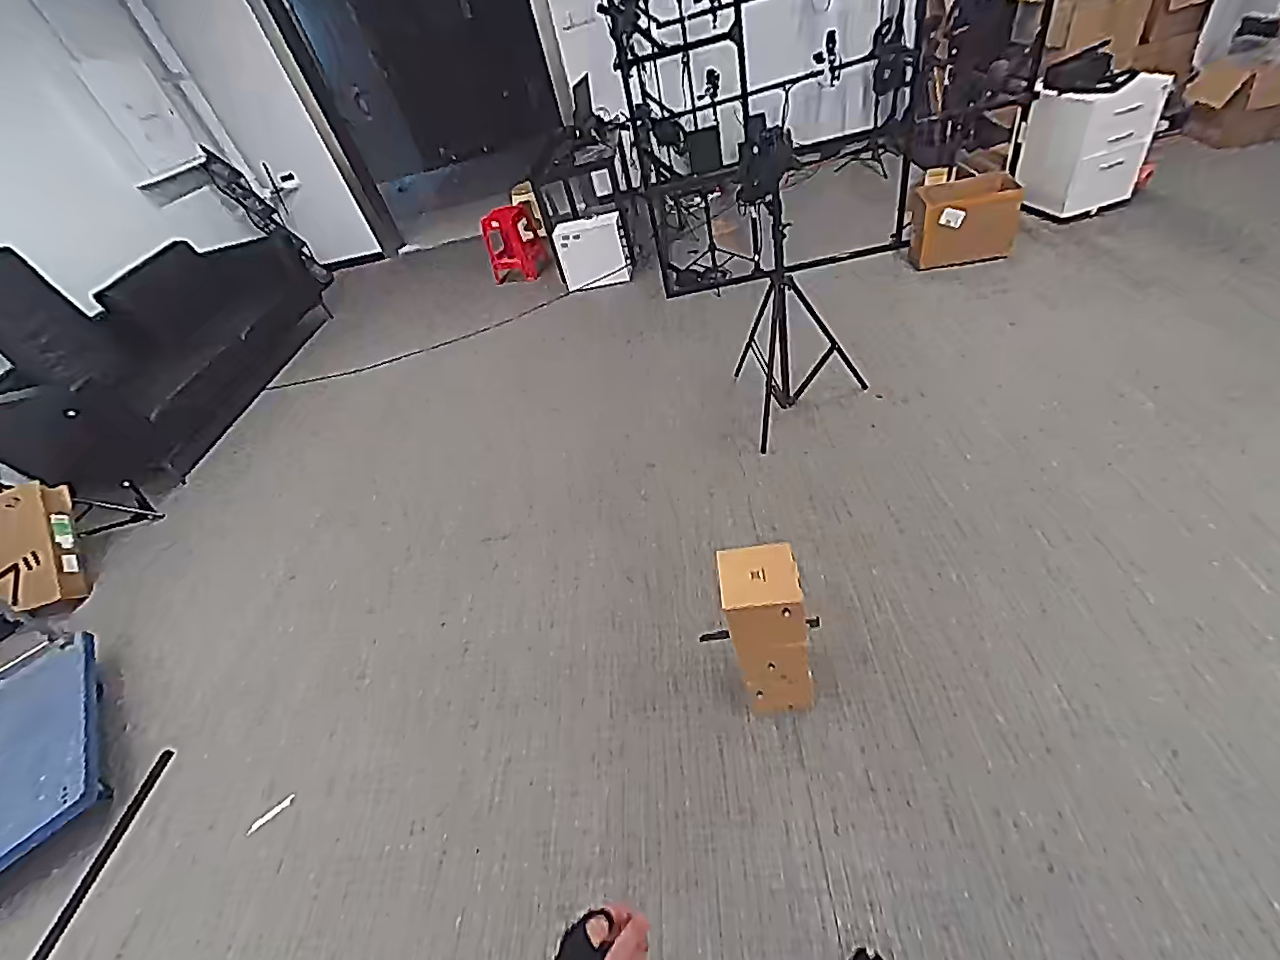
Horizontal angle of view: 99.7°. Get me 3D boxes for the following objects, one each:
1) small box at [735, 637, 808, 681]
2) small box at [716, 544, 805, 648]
[{"bbox_3d":[0.329,0.393,1.367,0.168,0.176,0.179,-6,42,12],"label":"small box"},{"bbox_3d":[0.282,0.276,1.264,0.179,0.176,0.168,-9,42,9],"label":"small box"}]
